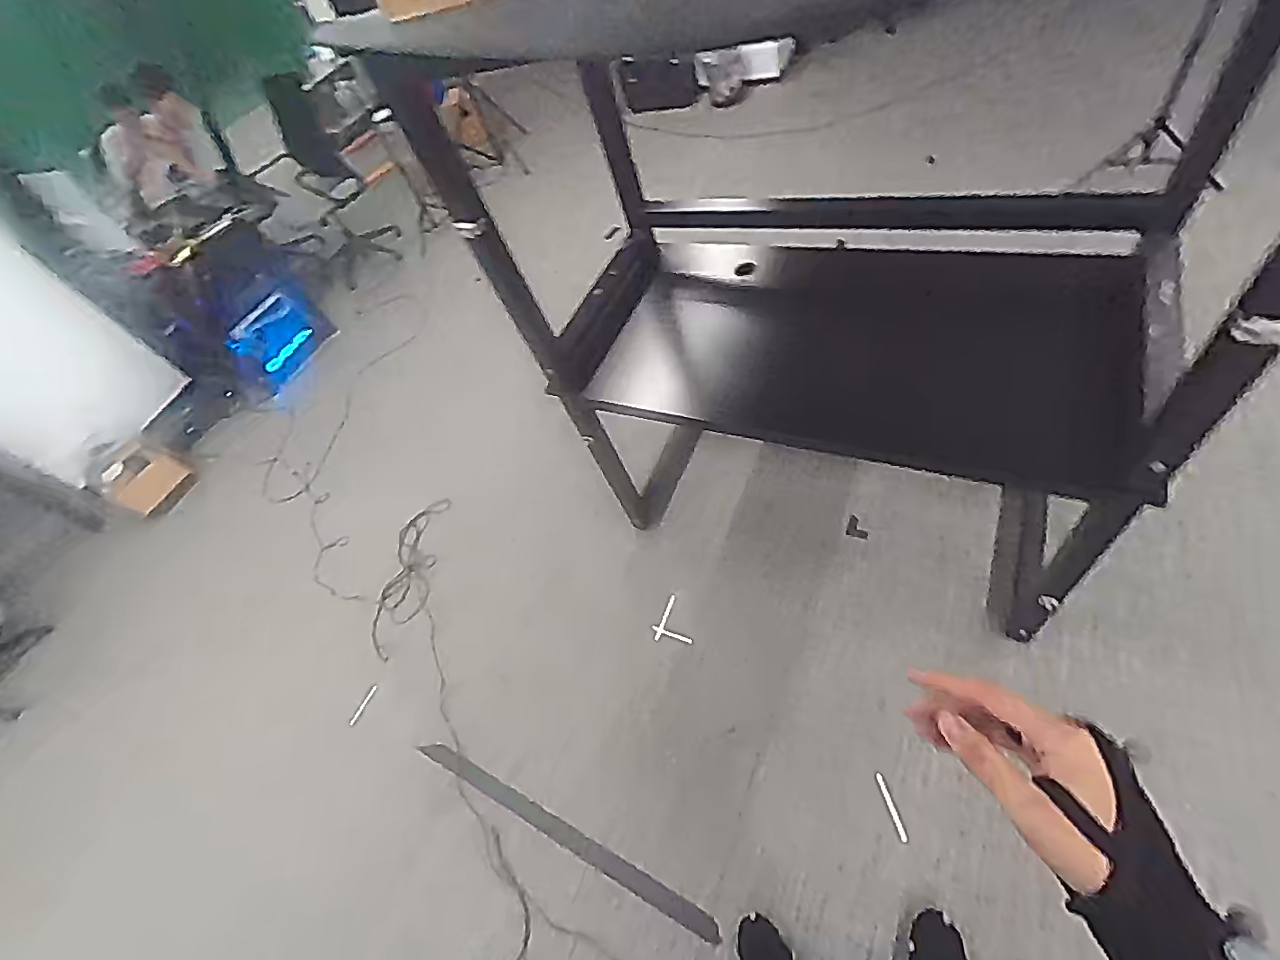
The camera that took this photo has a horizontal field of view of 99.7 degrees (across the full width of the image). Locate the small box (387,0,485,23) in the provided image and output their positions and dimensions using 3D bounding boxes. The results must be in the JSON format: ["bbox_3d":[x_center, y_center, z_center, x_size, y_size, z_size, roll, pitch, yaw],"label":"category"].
[{"bbox_3d":[-0.265,-0.733,0.694,0.168,0.176,0.179,10,61,25],"label":"small box"}]
